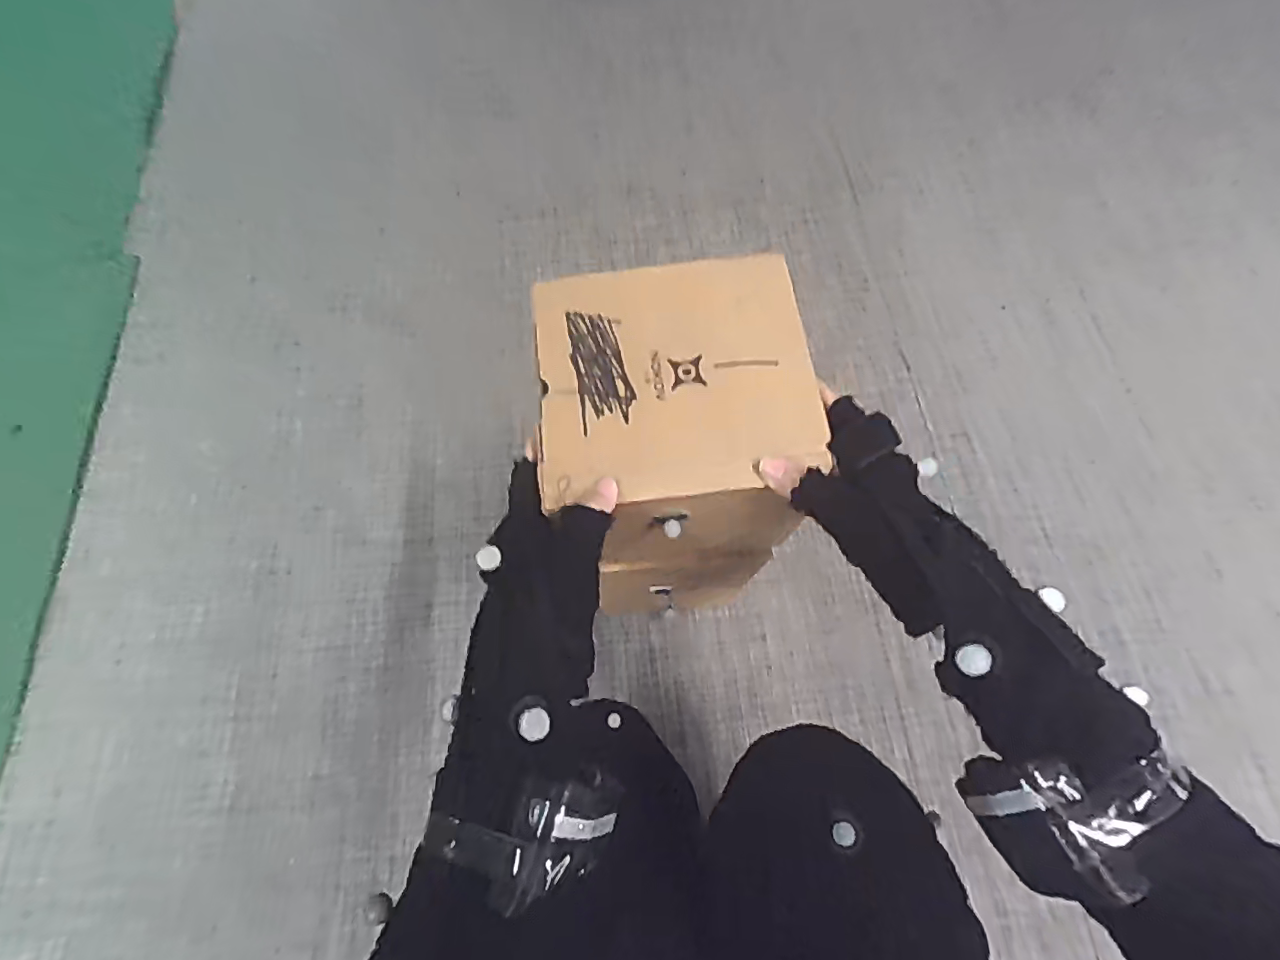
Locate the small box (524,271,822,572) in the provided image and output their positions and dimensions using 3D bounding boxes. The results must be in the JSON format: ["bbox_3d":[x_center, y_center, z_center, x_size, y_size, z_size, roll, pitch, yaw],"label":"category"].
[{"bbox_3d":[0.019,-0.030,0.416,0.179,0.176,0.168,-6,70,1],"label":"small box"}]

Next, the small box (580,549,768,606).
[{"bbox_3d":[0.028,0.029,0.569,0.168,0.176,0.179,-5,70,2],"label":"small box"}]

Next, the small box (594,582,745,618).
[{"bbox_3d":[0.033,0.089,0.719,0.179,0.176,0.168,-3,69,1],"label":"small box"}]
